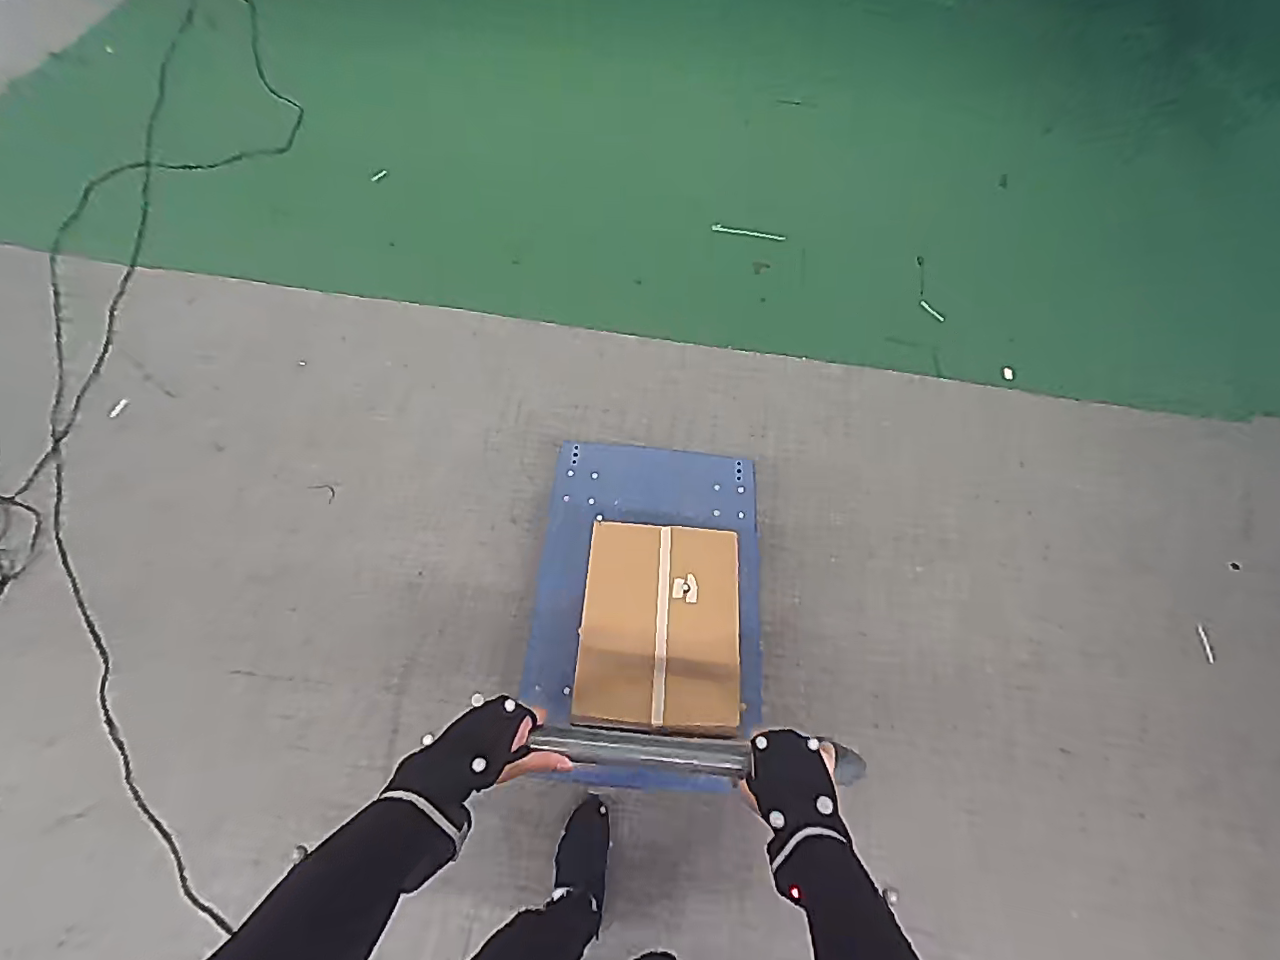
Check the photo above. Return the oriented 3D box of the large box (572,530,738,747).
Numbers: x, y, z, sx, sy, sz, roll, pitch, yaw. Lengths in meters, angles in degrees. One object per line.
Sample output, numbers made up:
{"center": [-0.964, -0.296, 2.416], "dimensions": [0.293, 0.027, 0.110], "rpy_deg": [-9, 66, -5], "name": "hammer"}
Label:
{"center": [0.032, 0.366, 1.216], "dimensions": [0.320, 0.320, 0.408], "rpy_deg": [5, 61, -1], "name": "large box"}
